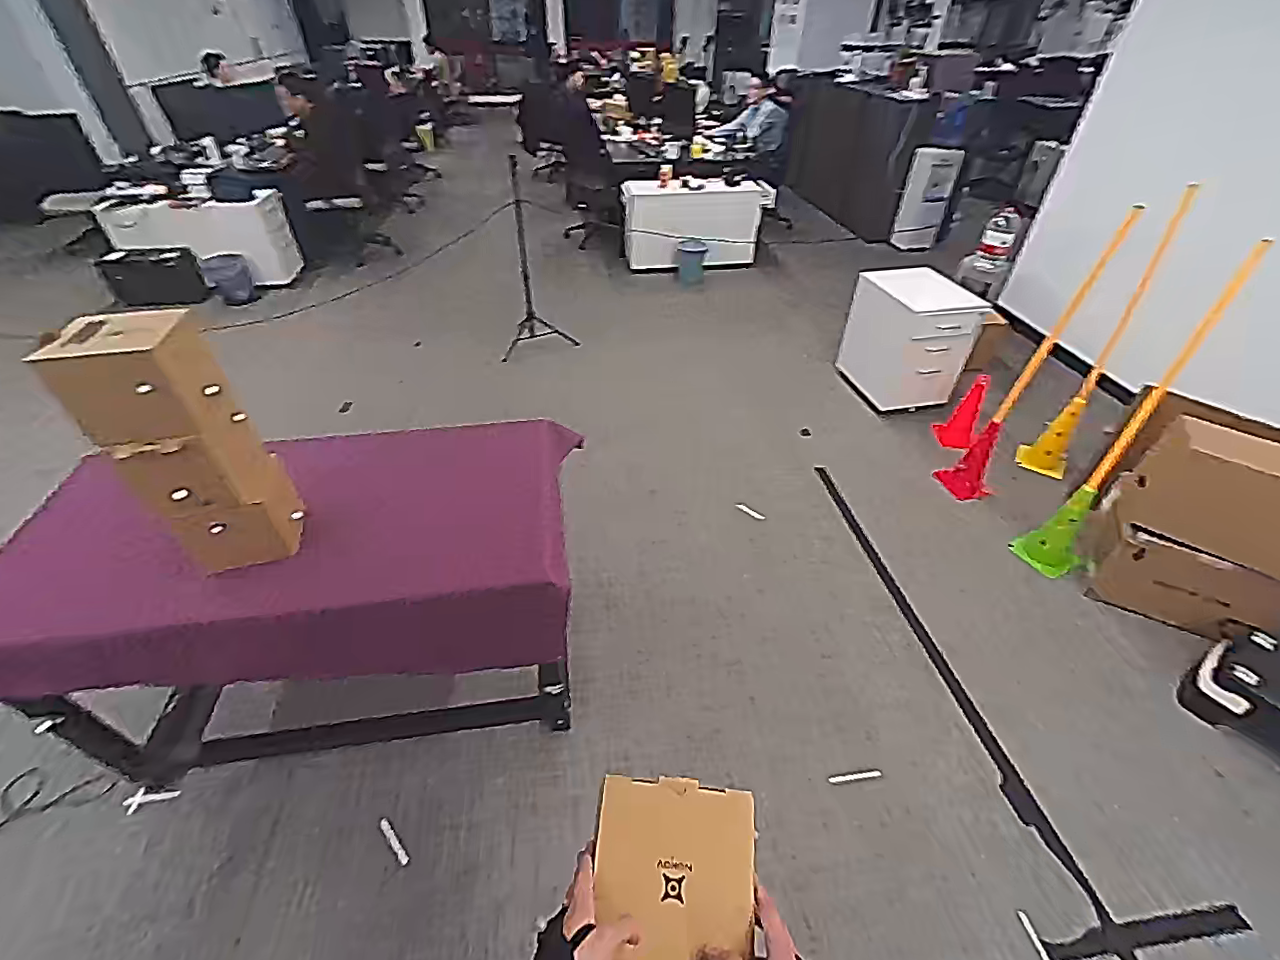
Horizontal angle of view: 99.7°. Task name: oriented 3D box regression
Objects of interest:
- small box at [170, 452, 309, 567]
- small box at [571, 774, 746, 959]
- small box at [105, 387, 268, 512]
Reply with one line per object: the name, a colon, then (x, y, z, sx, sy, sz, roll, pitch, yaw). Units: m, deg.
small box: (-0.853, 0.065, 1.173, 0.179, 0.176, 0.168, -11, 43, -15)
small box: (0.019, 0.441, 0.603, 0.168, 0.176, 0.179, 7, 57, -1)
small box: (-0.874, -0.061, 1.067, 0.168, 0.176, 0.179, -9, 42, -10)
